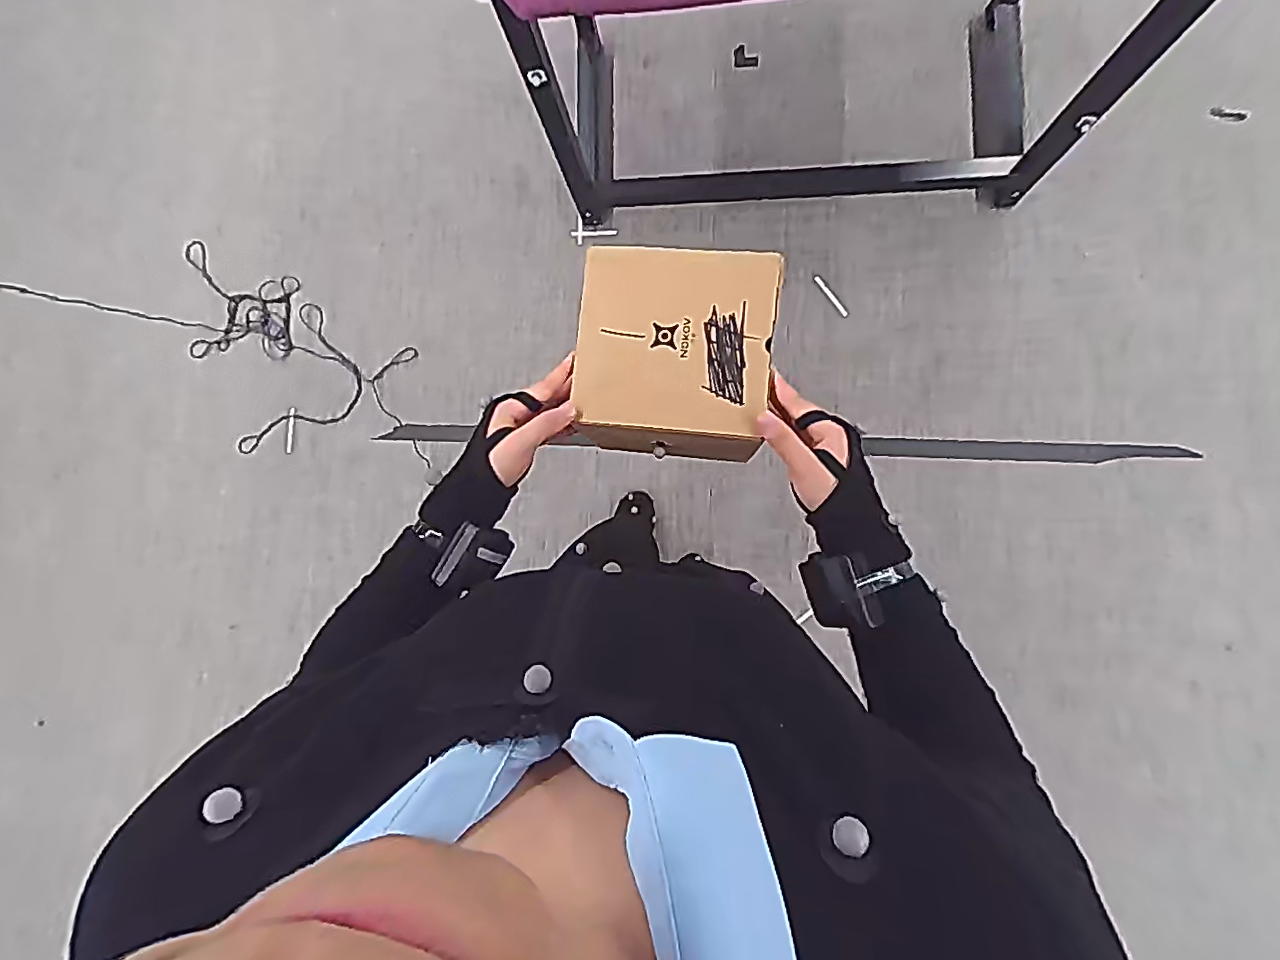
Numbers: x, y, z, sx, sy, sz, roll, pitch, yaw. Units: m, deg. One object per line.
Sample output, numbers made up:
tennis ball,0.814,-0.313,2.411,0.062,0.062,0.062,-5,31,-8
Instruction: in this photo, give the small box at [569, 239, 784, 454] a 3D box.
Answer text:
small box,0.040,-0.122,0.554,0.179,0.176,0.168,6,85,7
